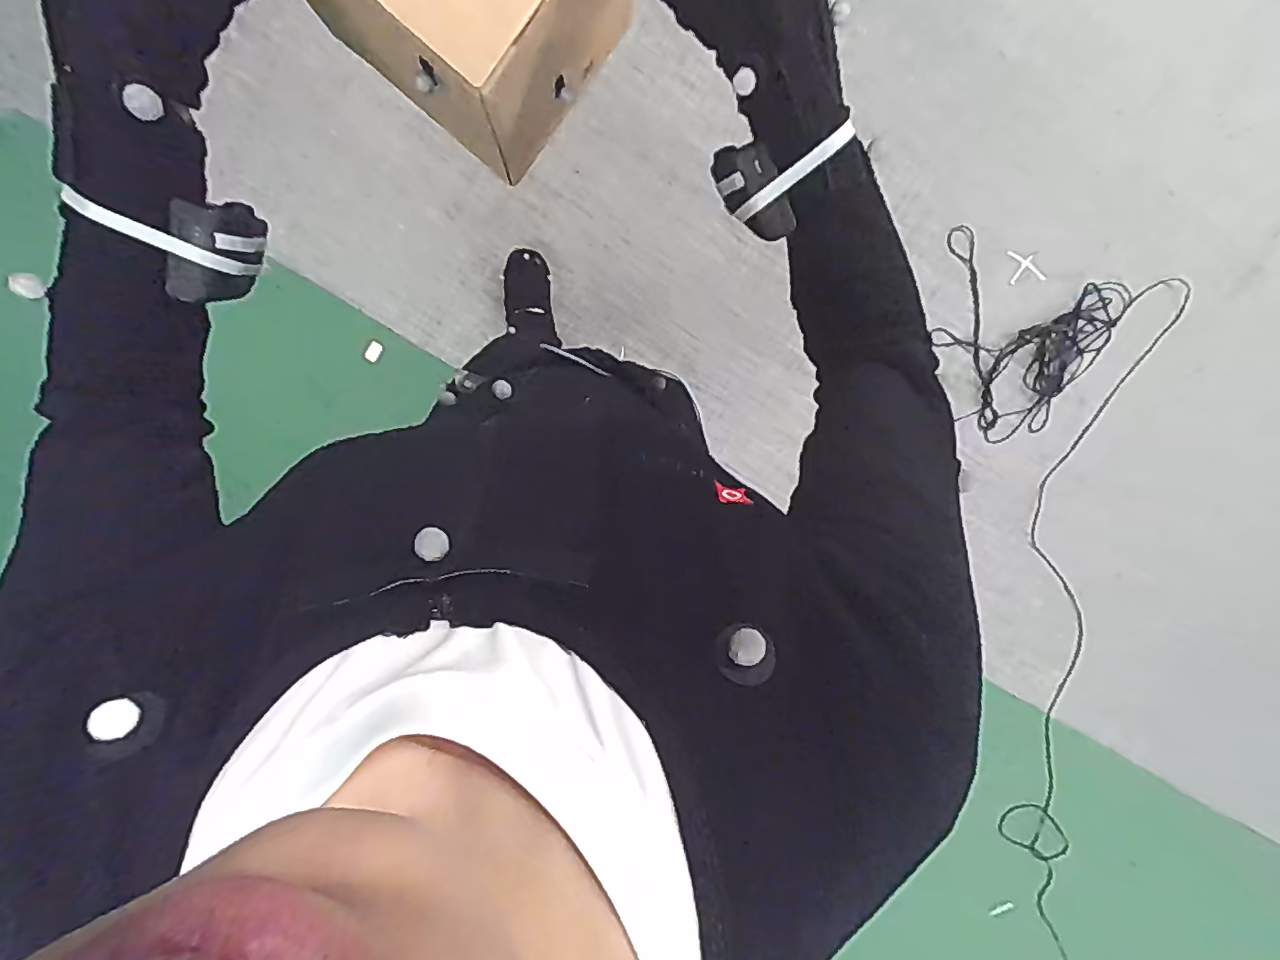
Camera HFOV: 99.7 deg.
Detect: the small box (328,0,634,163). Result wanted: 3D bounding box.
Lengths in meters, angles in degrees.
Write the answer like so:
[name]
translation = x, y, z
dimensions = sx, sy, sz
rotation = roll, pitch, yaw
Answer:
[small box]
translation = -0.111, -0.354, 0.357
dimensions = 0.179, 0.176, 0.168
rotation = 37, 96, -15
